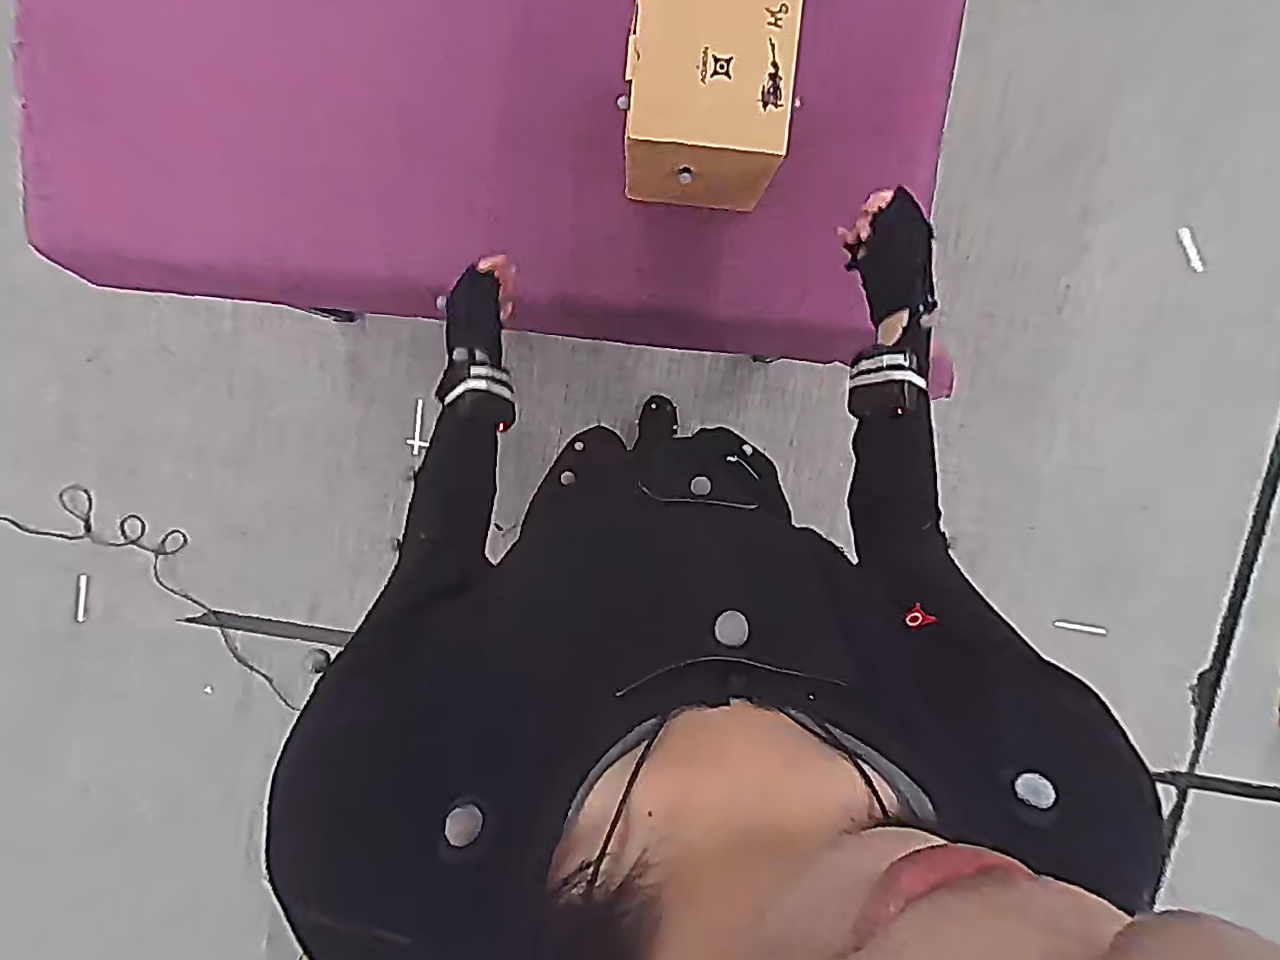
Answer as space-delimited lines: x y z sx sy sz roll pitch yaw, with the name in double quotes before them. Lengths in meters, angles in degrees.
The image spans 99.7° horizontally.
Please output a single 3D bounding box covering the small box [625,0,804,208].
"small box" 0.079 -0.447 0.648 0.179 0.176 0.168 5 96 -1
